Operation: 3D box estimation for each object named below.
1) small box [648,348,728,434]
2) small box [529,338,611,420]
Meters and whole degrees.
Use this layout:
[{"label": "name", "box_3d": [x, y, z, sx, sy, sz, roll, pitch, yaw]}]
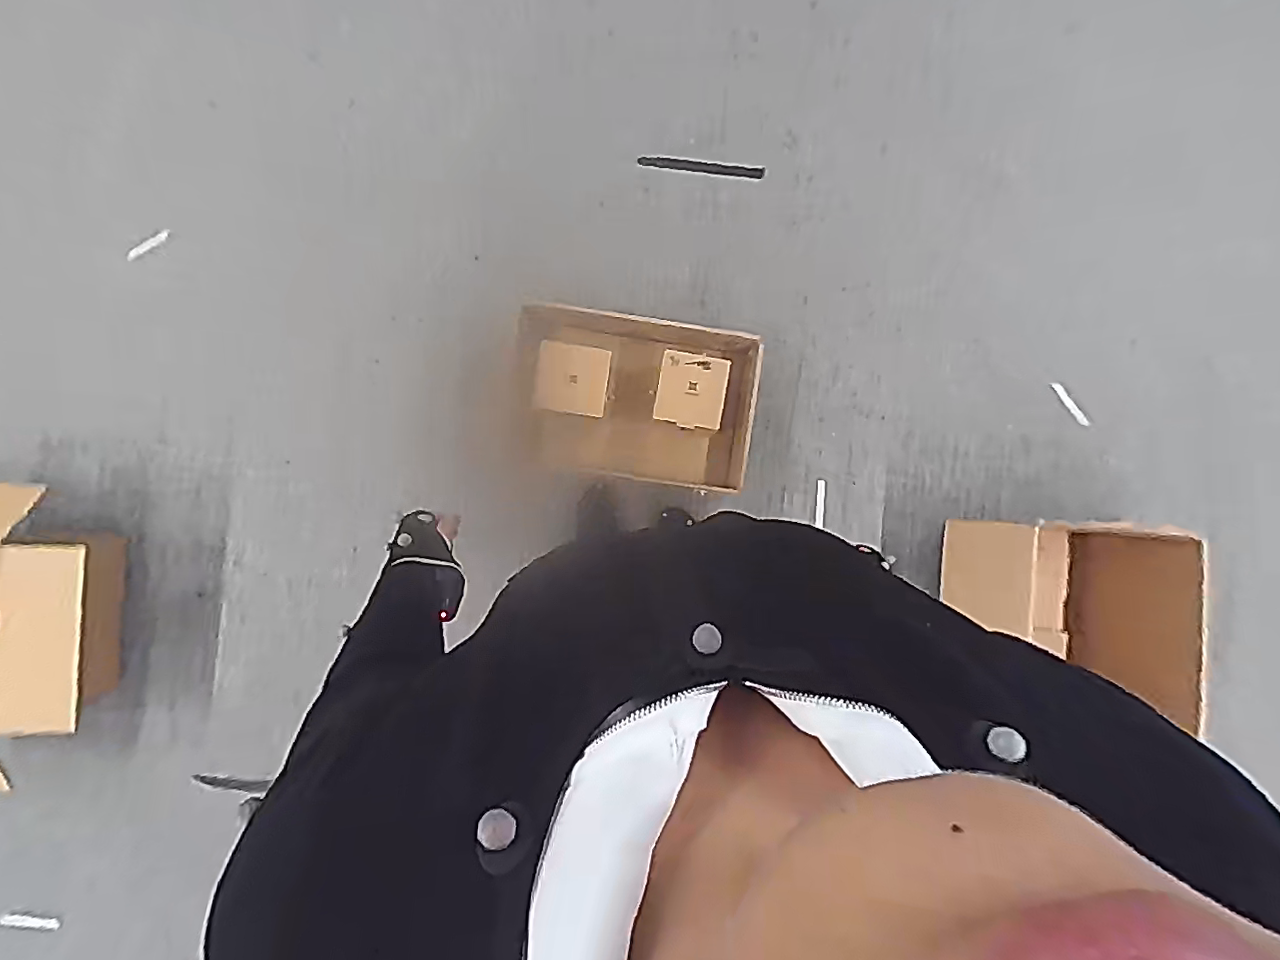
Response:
[{"label": "small box", "box_3d": [0.116, -0.219, 1.382, 0.168, 0.176, 0.179, 11, 90, -1]}, {"label": "small box", "box_3d": [-0.172, -0.248, 1.373, 0.179, 0.176, 0.168, 8, 91, -4]}]
